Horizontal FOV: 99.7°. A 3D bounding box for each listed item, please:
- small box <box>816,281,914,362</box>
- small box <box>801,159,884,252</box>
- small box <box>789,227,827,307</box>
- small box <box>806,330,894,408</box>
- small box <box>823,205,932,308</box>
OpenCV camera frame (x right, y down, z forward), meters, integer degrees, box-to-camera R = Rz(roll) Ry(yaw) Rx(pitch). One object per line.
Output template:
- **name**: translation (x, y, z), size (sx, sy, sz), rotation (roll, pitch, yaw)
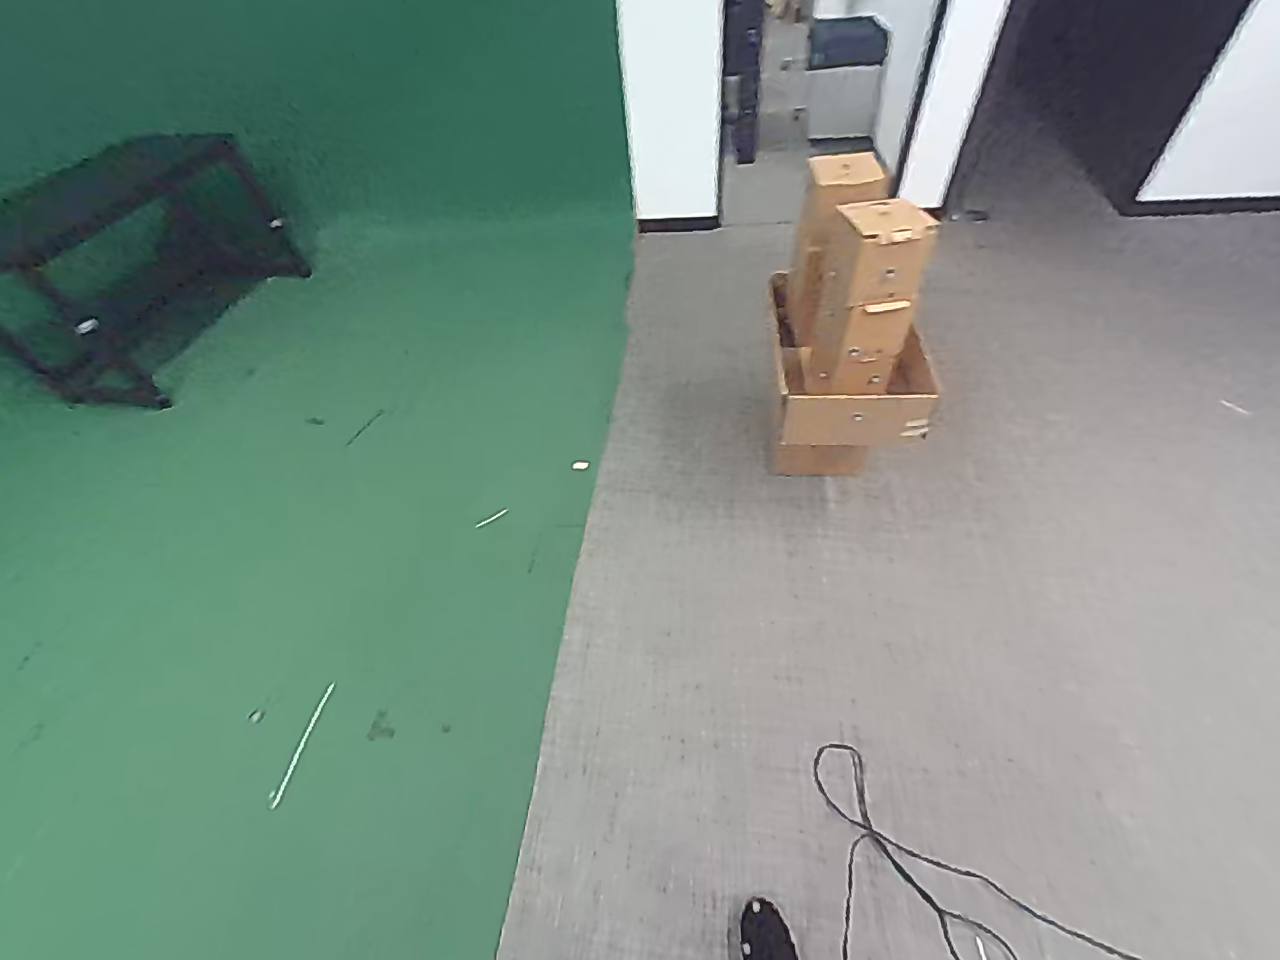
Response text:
- **small box**: translation (0.579, -0.423, 1.417), size (0.168, 0.176, 0.179), rotation (-9, 49, -3)
- **small box**: translation (0.541, -0.743, 1.469), size (0.168, 0.176, 0.179), rotation (-2, 51, 6)
- **small box**: translation (0.549, -0.630, 1.590), size (0.179, 0.176, 0.168), rotation (-4, 50, 5)
- **small box**: translation (0.591, -0.321, 1.544), size (0.168, 0.176, 0.179), rotation (-9, 49, -2)
- **small box**: translation (0.555, -0.527, 1.291), size (0.168, 0.176, 0.179), rotation (-7, 50, -1)
